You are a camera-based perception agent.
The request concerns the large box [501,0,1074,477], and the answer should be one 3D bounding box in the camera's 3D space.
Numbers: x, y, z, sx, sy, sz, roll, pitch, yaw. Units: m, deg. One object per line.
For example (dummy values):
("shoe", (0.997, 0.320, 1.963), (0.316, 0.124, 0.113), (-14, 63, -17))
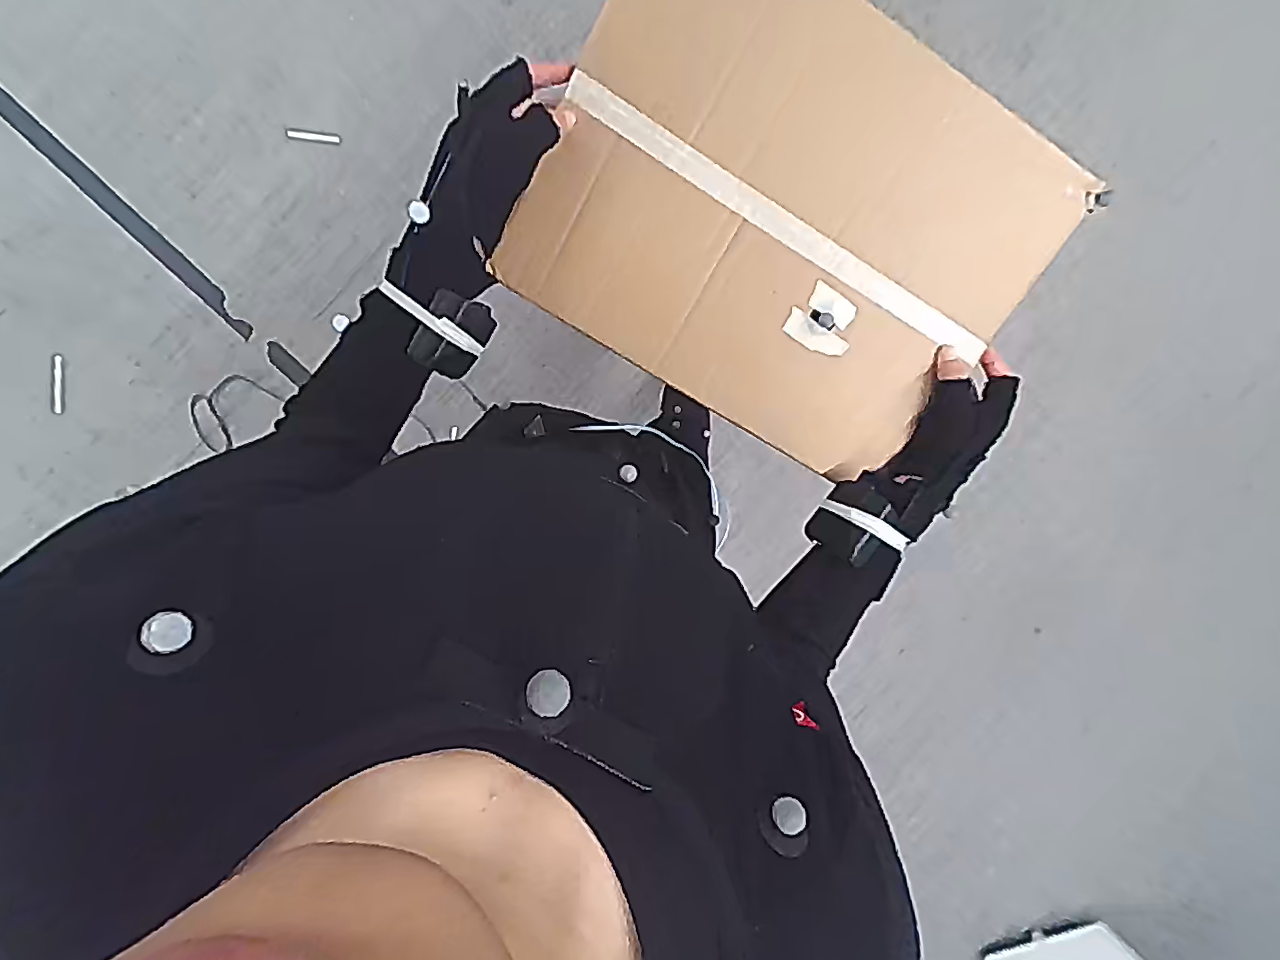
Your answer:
("large box", (0.118, -0.262, 0.604), (0.408, 0.320, 0.320), (29, 106, -9))
